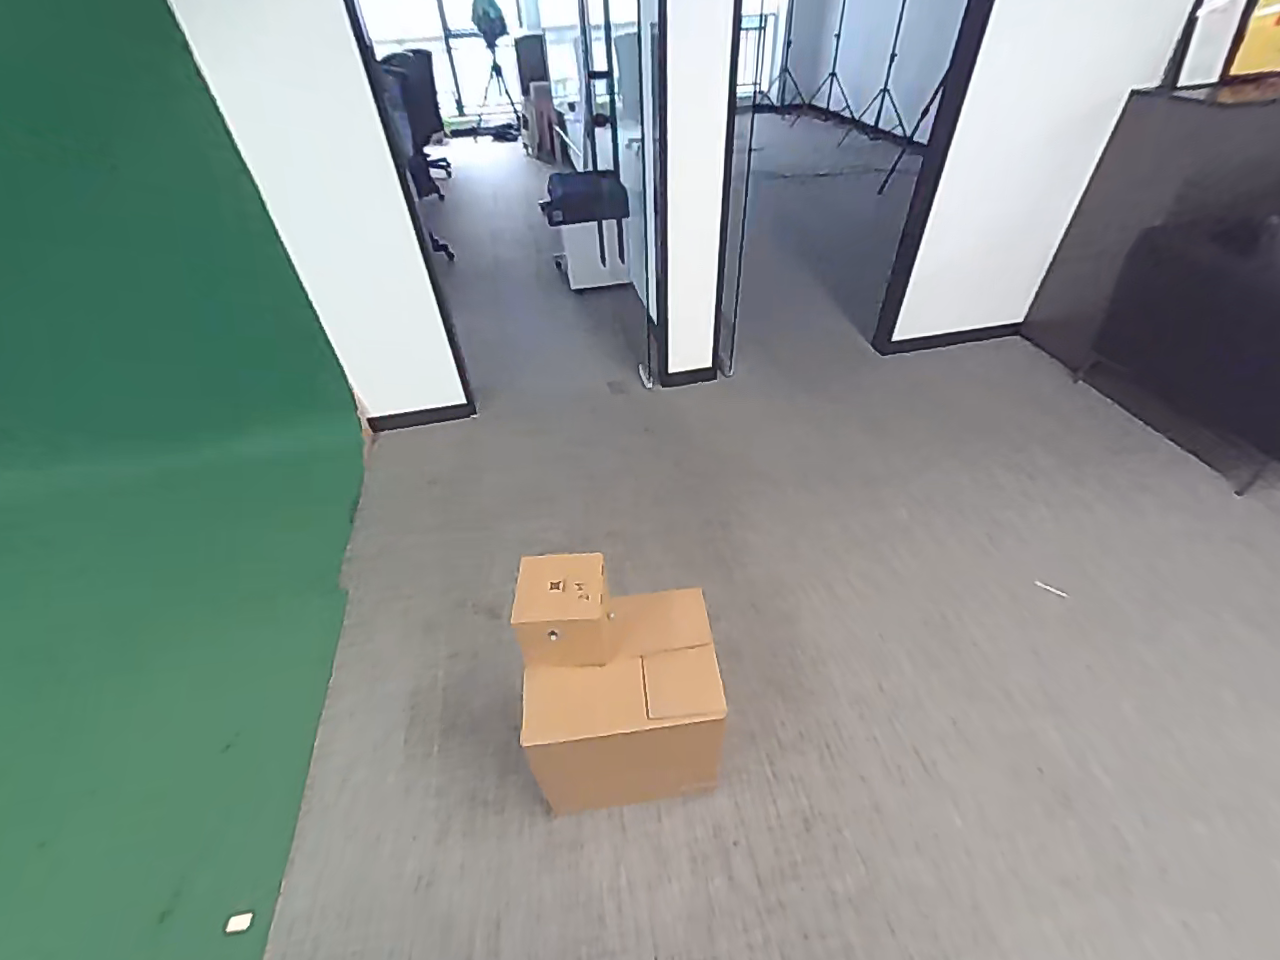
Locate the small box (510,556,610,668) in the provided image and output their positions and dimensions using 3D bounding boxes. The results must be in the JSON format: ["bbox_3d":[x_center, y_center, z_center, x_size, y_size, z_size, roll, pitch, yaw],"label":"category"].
[{"bbox_3d":[-0.159,0.279,1.135,0.179,0.176,0.168,-3,42,0],"label":"small box"}]
